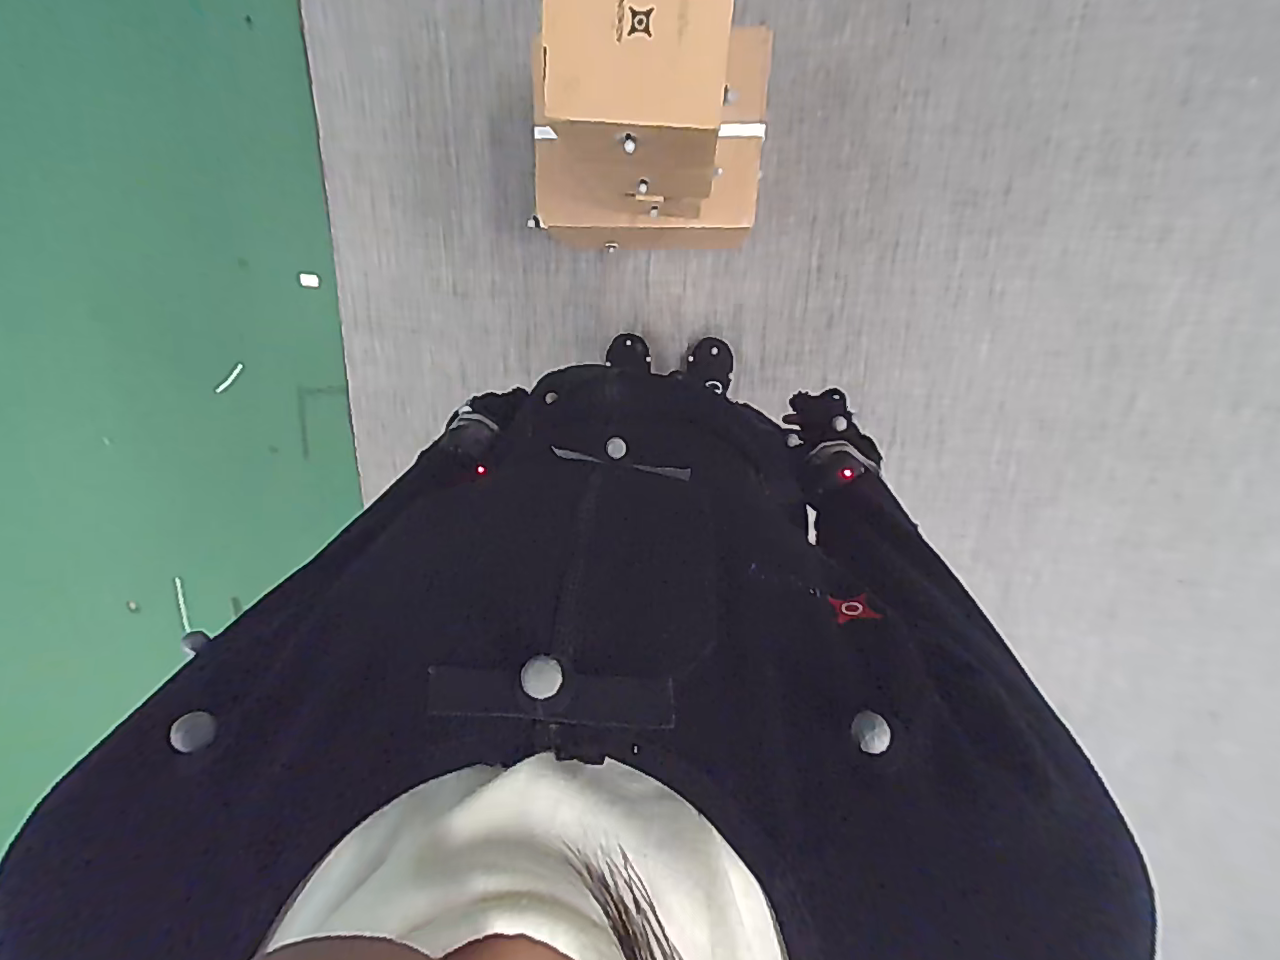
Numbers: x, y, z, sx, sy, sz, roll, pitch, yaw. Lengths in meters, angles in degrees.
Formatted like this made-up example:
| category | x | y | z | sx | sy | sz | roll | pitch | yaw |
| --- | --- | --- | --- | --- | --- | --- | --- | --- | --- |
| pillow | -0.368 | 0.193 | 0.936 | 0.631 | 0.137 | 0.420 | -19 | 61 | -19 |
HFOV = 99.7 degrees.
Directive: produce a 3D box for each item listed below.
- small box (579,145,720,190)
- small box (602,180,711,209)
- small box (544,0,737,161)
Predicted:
| category | x | y | z | sx | sy | sz | roll | pitch | yaw |
| --- | --- | --- | --- | --- | --- | --- | --- | --- | --- |
| small box | 0.025 | -0.497 | 0.722 | 0.179 | 0.176 | 0.168 | 6 | 108 | 6 |
| small box | 0.038 | -0.550 | 0.878 | 0.168 | 0.176 | 0.179 | 6 | 109 | 5 |
| small box | 0.007 | -0.450 | 0.569 | 0.179 | 0.176 | 0.168 | 5 | 109 | 5 |
